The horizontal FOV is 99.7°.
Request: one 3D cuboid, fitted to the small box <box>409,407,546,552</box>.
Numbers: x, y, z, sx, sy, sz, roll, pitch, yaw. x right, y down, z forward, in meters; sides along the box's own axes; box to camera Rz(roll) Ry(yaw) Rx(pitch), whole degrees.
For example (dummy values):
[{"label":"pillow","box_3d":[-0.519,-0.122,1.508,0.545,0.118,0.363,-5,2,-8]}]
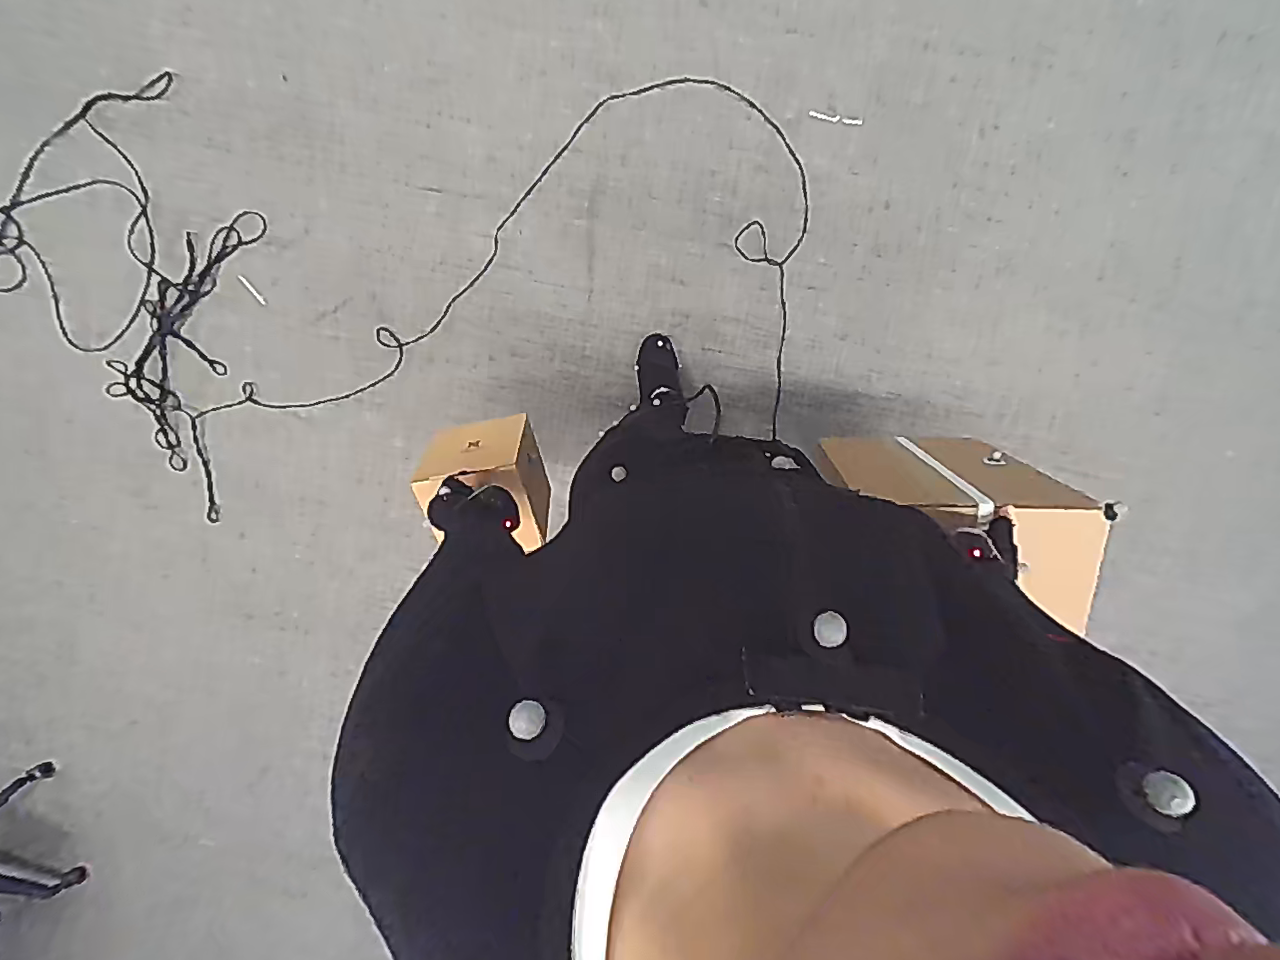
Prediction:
[{"label":"small box","box_3d":[-0.262,-0.002,0.924,0.168,0.179,0.176,-10,125,2]}]
